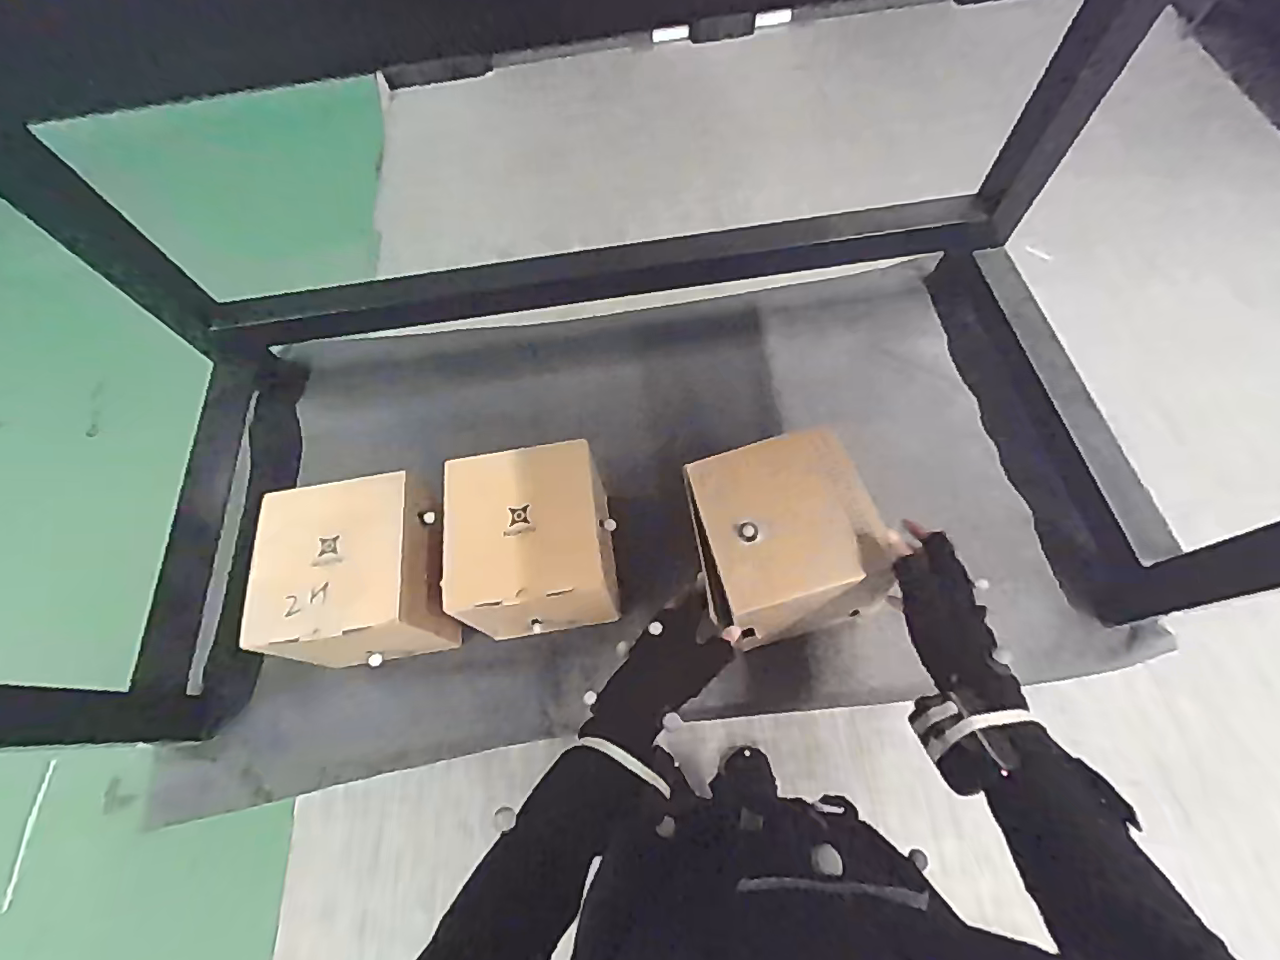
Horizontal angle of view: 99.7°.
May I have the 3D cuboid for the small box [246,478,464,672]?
[{"bbox_3d":[-0.322,0.120,0.652,0.168,0.176,0.179,-9,63,0],"label":"small box"}]
